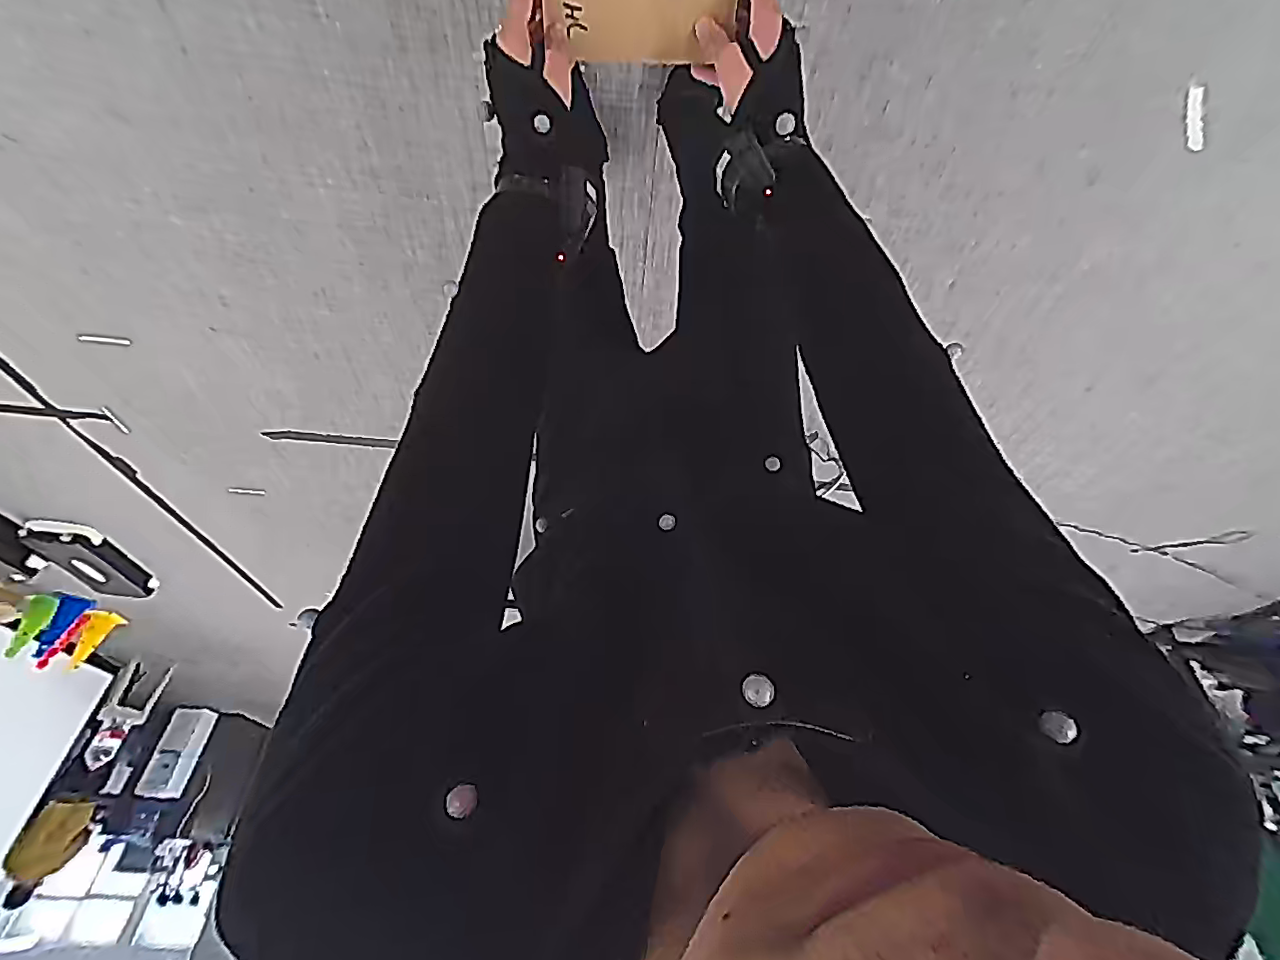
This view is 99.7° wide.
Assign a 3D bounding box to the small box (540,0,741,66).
[{"bbox_3d":[-0.003,-0.499,0.485,0.179,0.176,0.168,-1,141,-4],"label":"small box"}]
